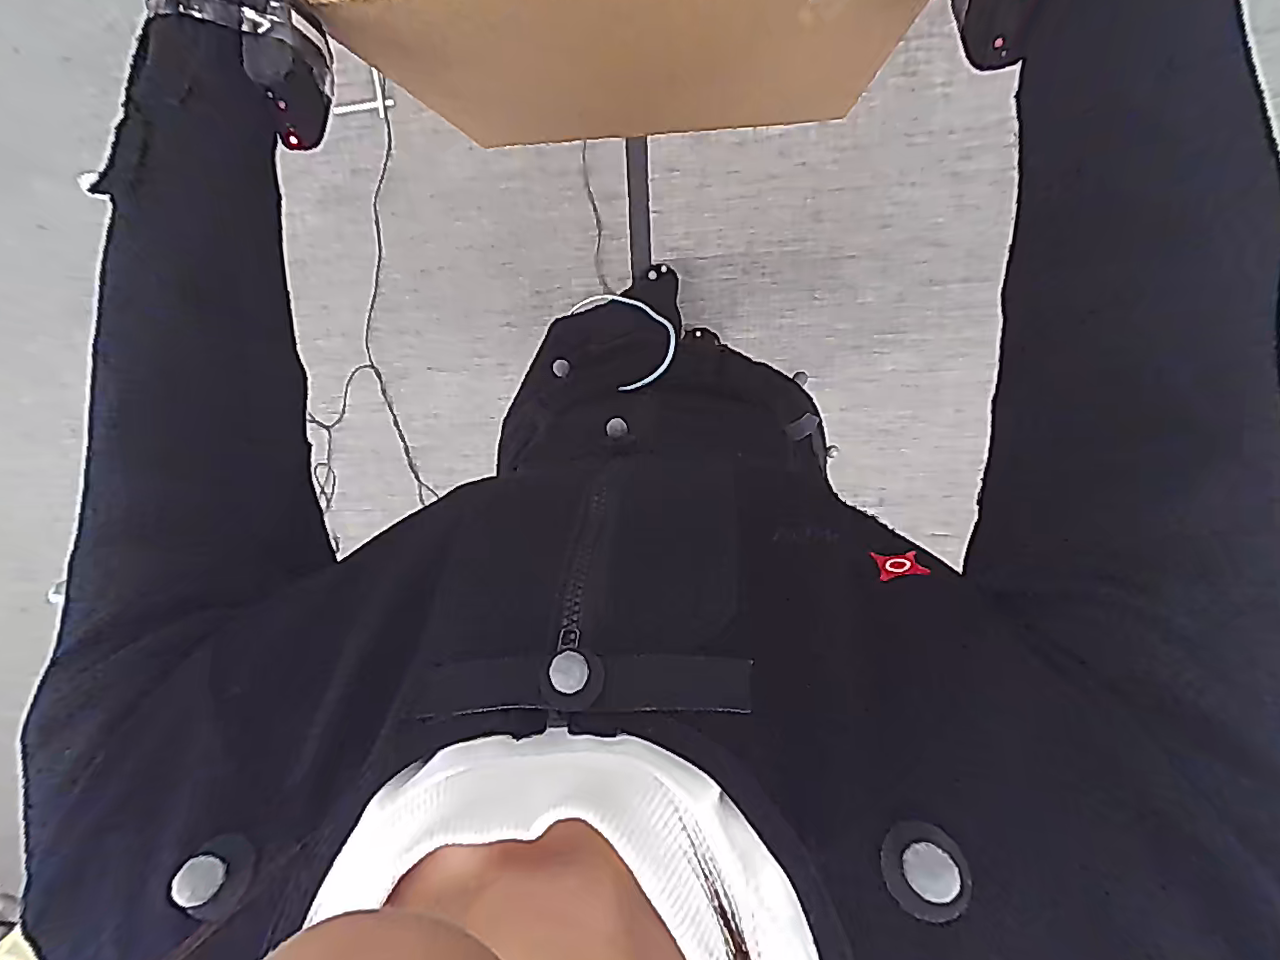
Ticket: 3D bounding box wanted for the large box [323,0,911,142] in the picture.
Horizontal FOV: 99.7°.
[{"bbox_3d":[-0.004,-0.493,0.412,0.408,0.320,0.320,-1,108,6],"label":"large box"}]
